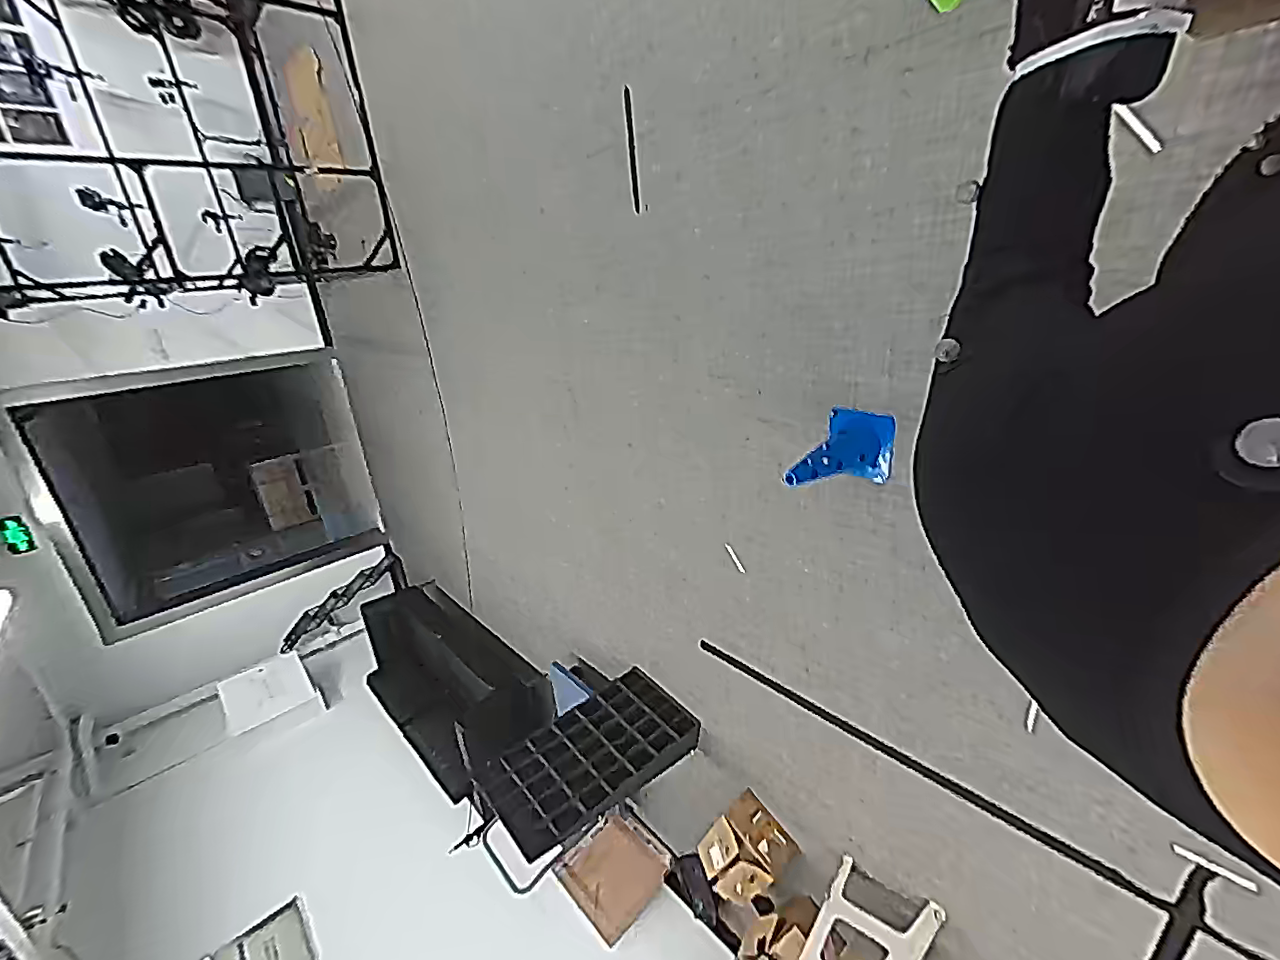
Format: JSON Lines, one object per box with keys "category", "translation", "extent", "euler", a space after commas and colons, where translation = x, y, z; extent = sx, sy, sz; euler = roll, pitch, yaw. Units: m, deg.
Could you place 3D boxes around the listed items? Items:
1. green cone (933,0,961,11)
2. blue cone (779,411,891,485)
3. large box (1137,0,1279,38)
{"category": "green cone", "translation": [0.522, -1.061, 0.988], "extent": [0.200, 0.368, 0.202], "euler": [62, 144, 9]}
{"category": "blue cone", "translation": [0.523, -0.056, 1.509], "extent": [0.192, 0.380, 0.193], "euler": [23, 124, 45]}
{"category": "large box", "translation": [0.526, -0.473, 0.238], "extent": [0.408, 0.320, 0.320], "euler": [14, 125, 47]}
